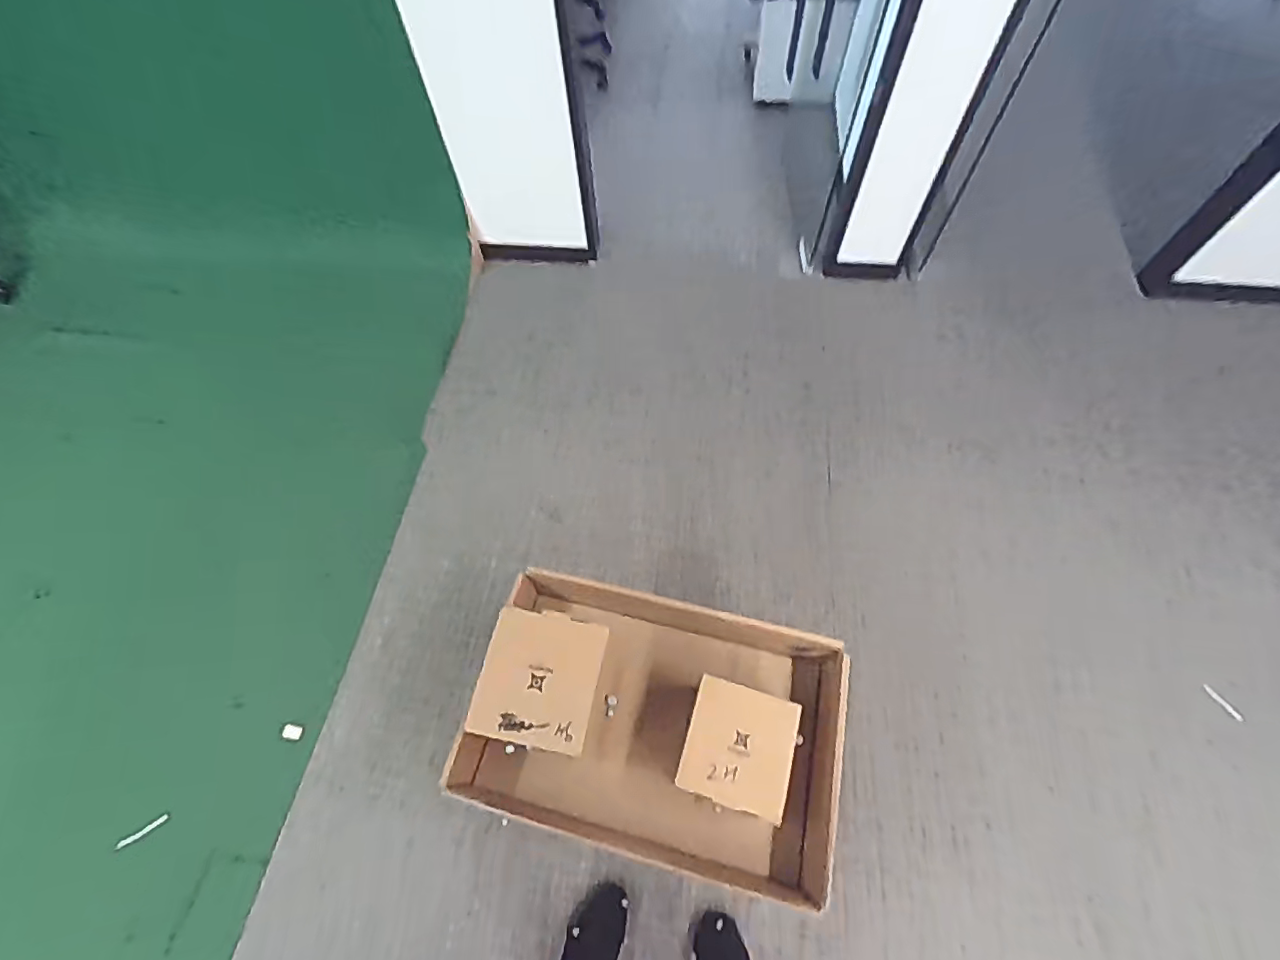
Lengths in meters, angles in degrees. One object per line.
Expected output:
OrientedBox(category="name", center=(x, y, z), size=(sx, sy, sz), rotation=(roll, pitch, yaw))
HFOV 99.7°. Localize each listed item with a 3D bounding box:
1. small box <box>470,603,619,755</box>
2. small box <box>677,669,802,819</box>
OrientedBox(category="small box", center=(-0.133, 0.311, 0.835), size=(0.168, 0.176, 0.179), rotation=(8, 63, 10))
OrientedBox(category="small box", center=(0.164, 0.448, 0.926), size=(0.168, 0.176, 0.179), rotation=(15, 65, 12))
